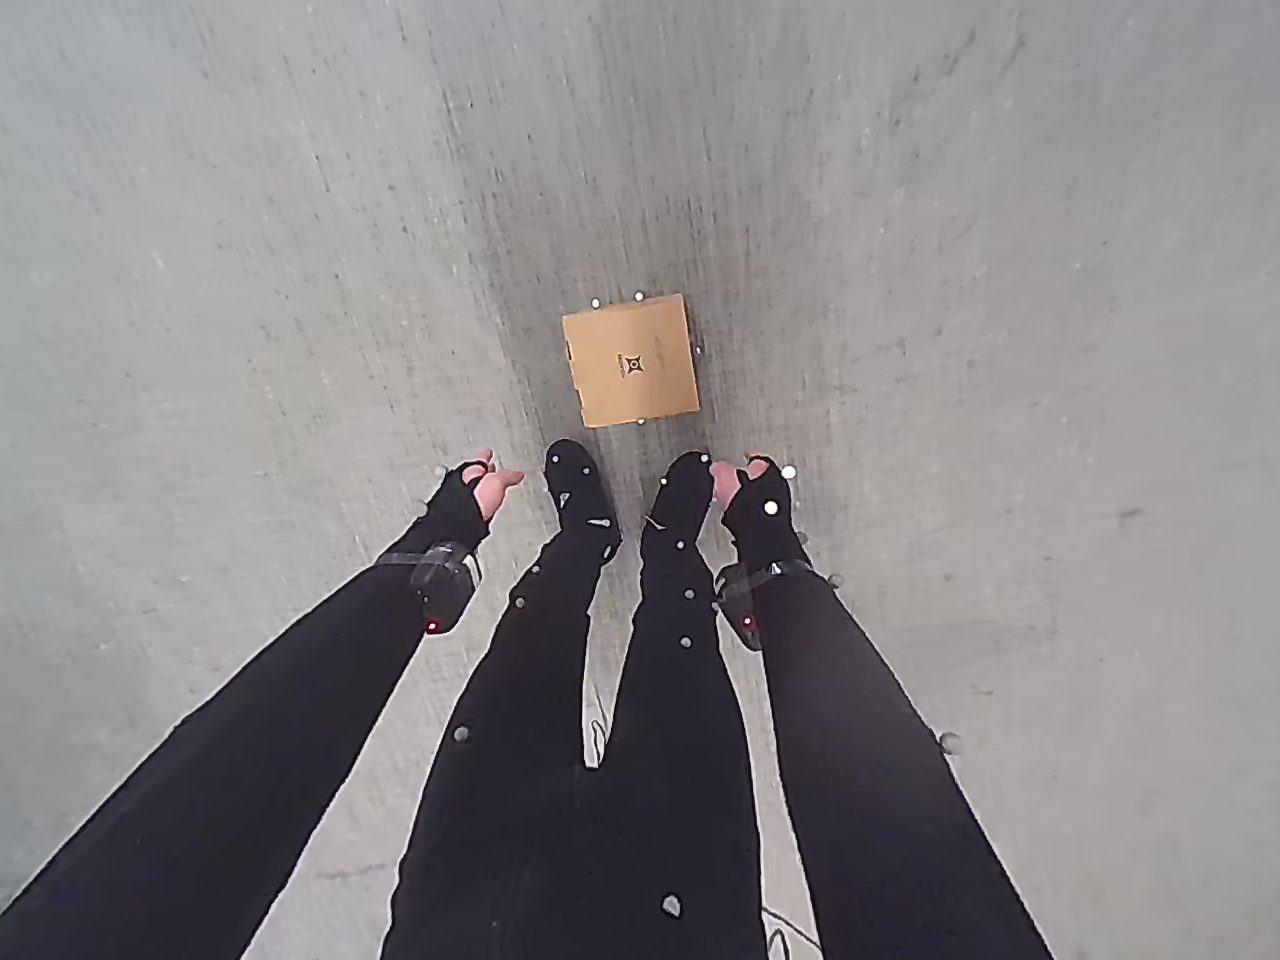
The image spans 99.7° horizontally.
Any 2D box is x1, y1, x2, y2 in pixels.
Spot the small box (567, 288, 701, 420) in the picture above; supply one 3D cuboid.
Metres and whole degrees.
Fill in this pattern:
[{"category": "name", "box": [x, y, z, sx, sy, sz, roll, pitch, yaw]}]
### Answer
[{"category": "small box", "box": [-0.004, -0.204, 0.860, 0.179, 0.176, 0.168, -10, 109, 4]}]
